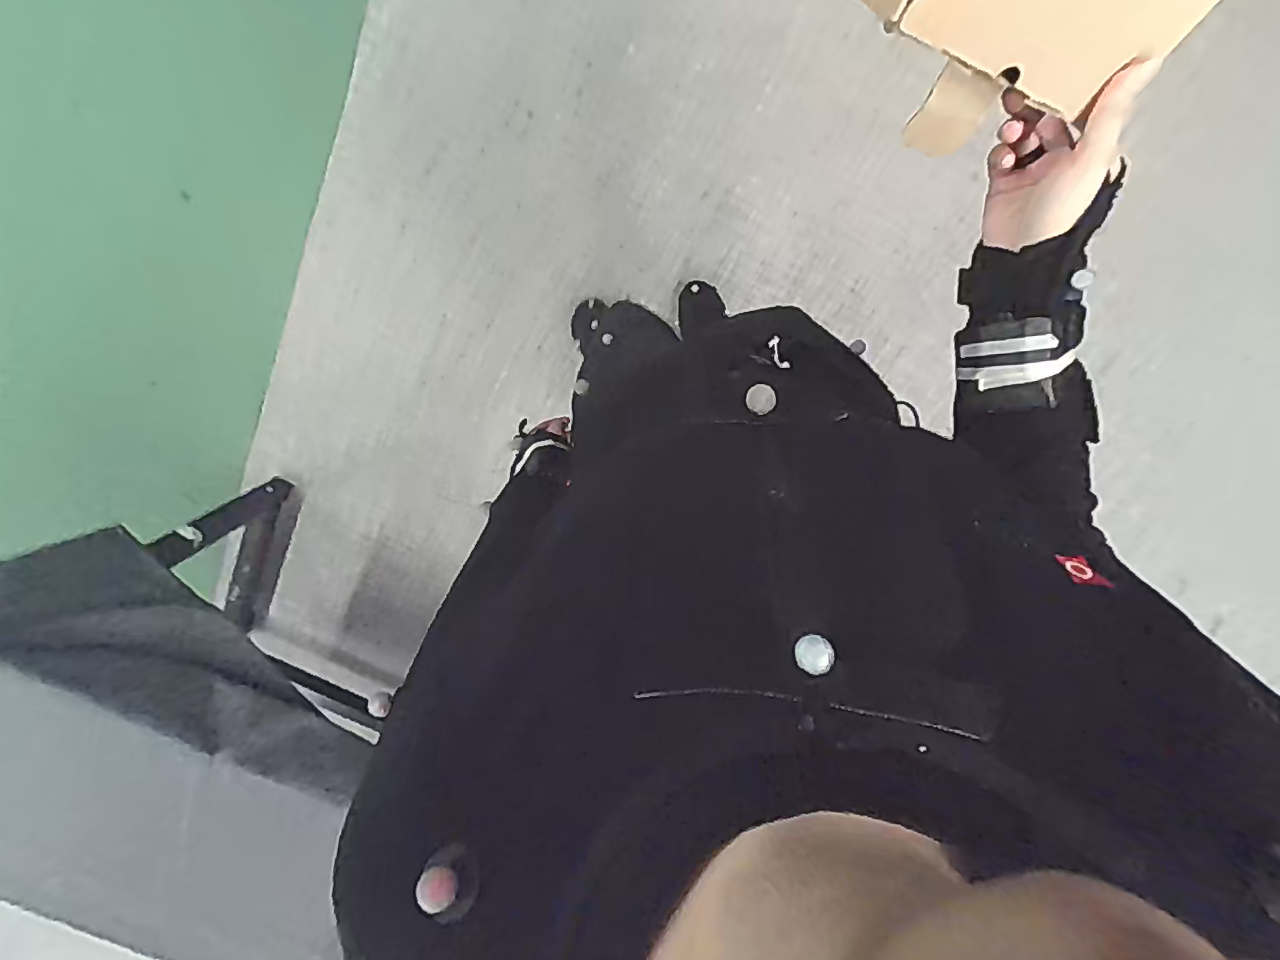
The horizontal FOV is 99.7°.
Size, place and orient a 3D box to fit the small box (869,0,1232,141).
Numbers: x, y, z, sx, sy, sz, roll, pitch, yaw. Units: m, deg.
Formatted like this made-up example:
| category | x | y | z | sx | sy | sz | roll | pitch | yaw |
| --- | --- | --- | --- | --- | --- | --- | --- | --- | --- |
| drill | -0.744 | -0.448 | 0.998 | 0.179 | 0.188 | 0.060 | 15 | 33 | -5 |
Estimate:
| category | x | y | z | sx | sy | sz | roll | pitch | yaw |
| --- | --- | --- | --- | --- | --- | --- | --- | --- | --- |
| small box | 0.225 | -0.331 | 0.283 | 0.168 | 0.176 | 0.179 | 5 | 145 | -23 |
